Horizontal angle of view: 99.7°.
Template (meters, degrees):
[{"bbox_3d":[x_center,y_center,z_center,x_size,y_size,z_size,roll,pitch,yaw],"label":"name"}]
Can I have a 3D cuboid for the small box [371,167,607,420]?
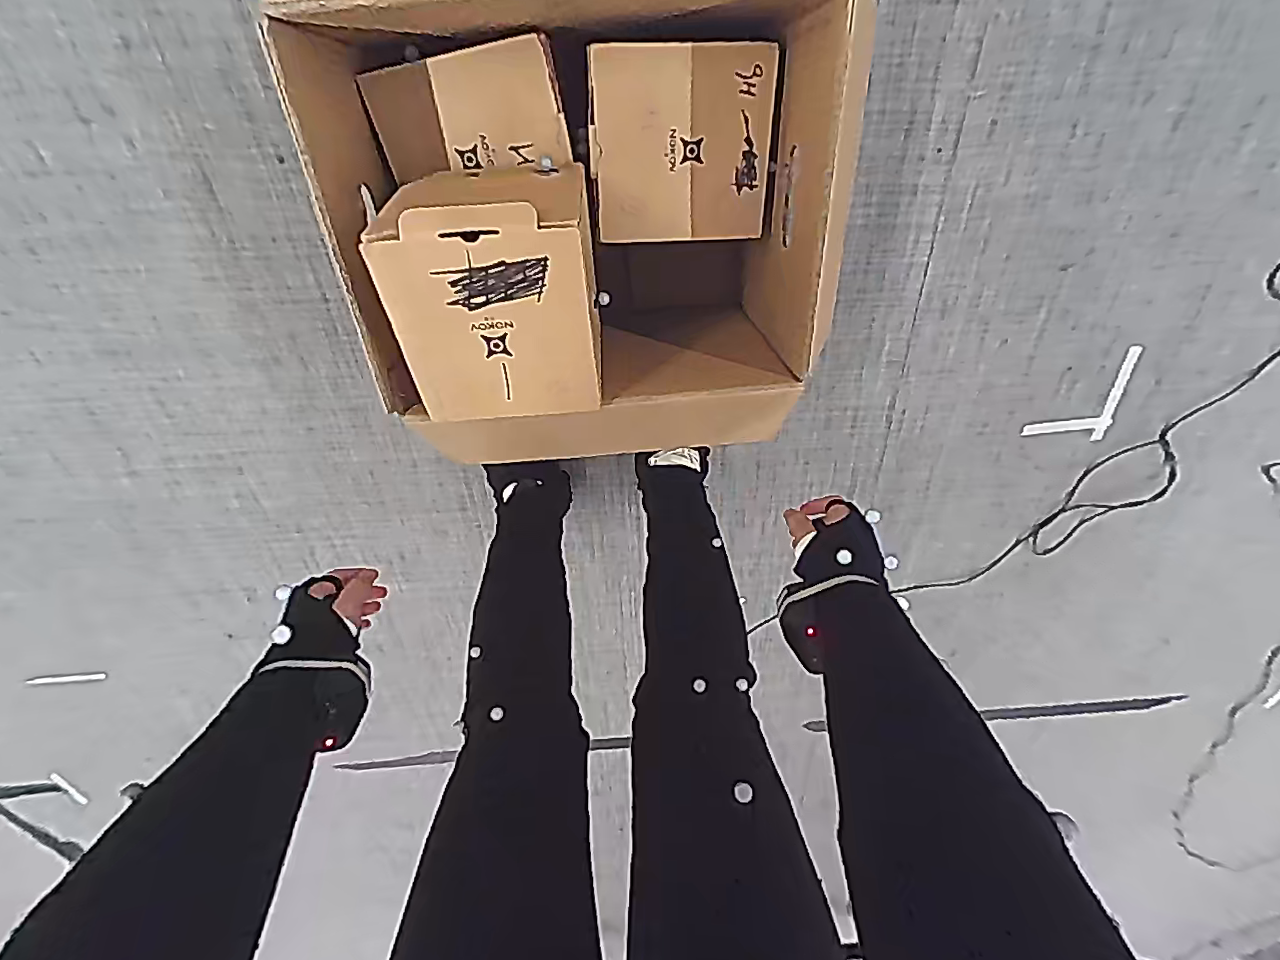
[{"bbox_3d":[-0.121,-0.180,0.511,0.168,0.176,0.179,-4,135,-1],"label":"small box"}]
